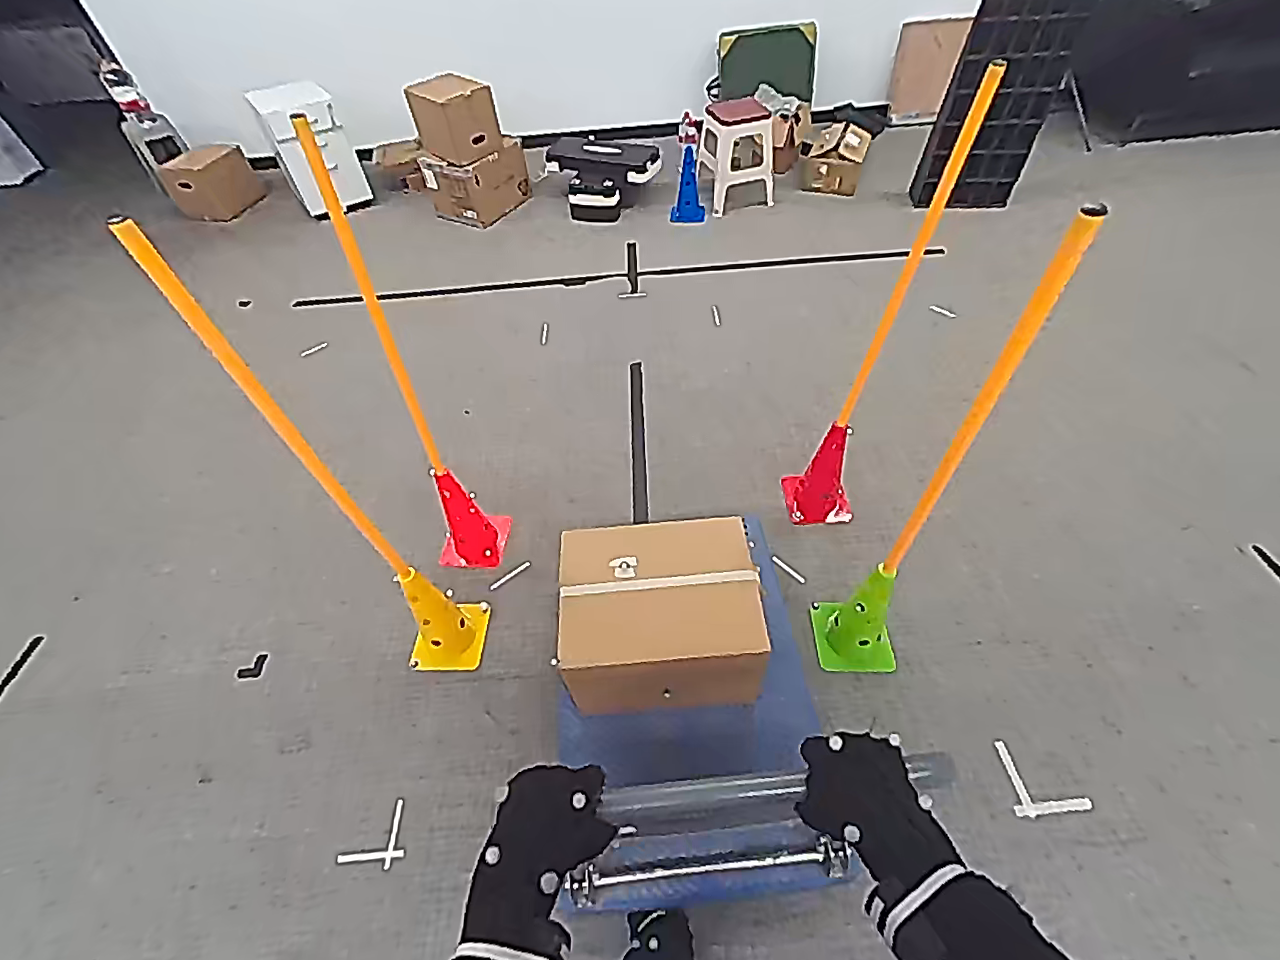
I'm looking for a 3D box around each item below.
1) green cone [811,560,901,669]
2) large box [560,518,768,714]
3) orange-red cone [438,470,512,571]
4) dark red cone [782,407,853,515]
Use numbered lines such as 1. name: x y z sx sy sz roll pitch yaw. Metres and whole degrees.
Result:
1. green cone: 0.580 0.317 1.370 0.202 0.368 0.200 -1 50 3
2. large box: 0.048 0.317 1.228 0.408 0.320 0.320 -6 50 1
3. orange-red cone: -0.543 0.098 1.654 0.198 0.360 0.199 2 49 5
4. dark red cone: 0.579 -0.066 1.668 0.201 0.394 0.202 -3 50 0
